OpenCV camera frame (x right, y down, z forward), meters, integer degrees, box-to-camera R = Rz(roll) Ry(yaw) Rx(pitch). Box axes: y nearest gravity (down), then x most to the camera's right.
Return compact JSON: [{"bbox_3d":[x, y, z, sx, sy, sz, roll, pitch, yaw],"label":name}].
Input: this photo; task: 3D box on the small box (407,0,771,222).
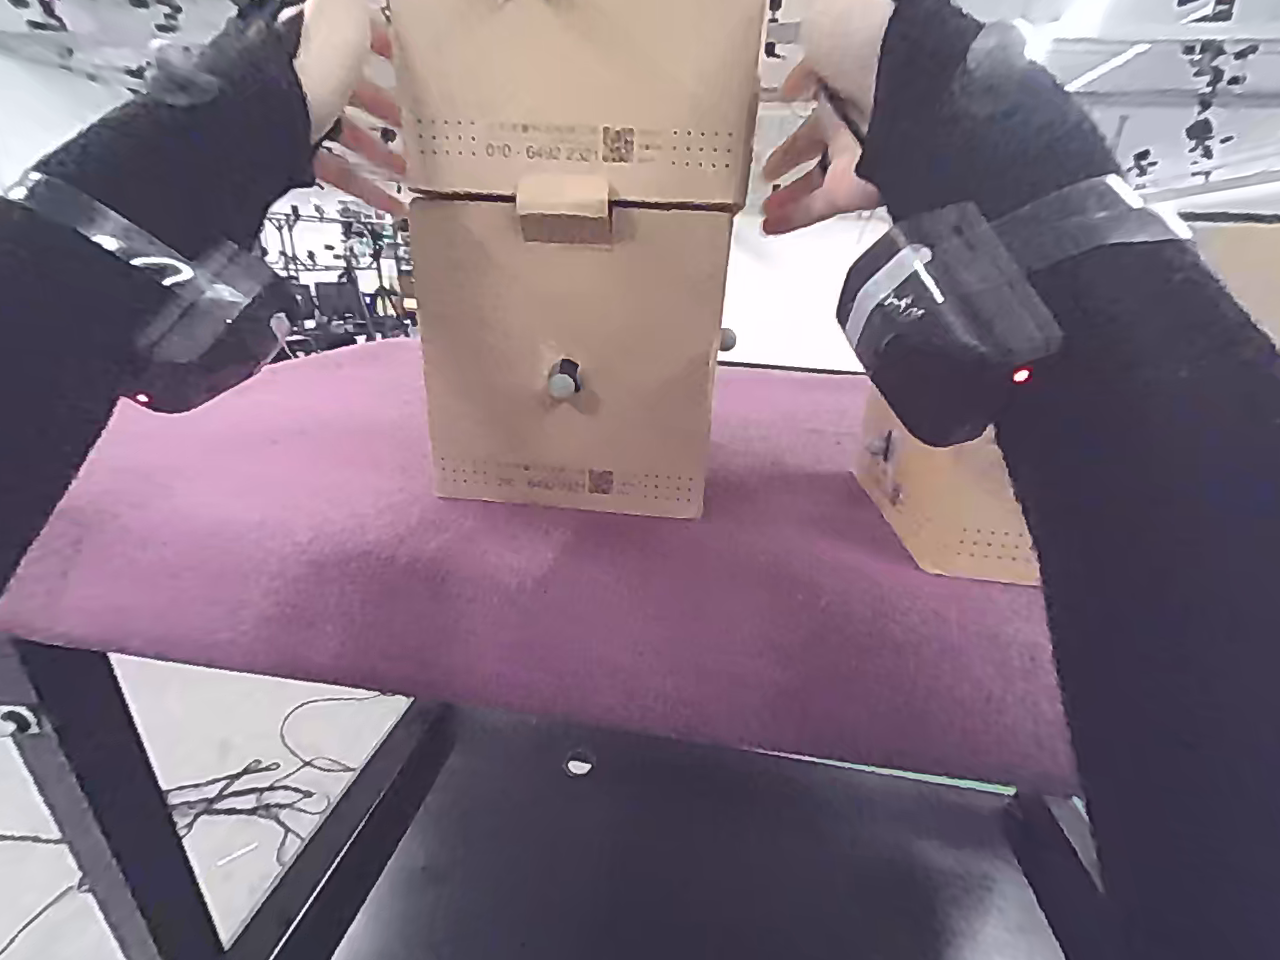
[{"bbox_3d":[-0.018,-0.246,0.305,0.168,0.176,0.179,4,20,2],"label":"small box"}]
